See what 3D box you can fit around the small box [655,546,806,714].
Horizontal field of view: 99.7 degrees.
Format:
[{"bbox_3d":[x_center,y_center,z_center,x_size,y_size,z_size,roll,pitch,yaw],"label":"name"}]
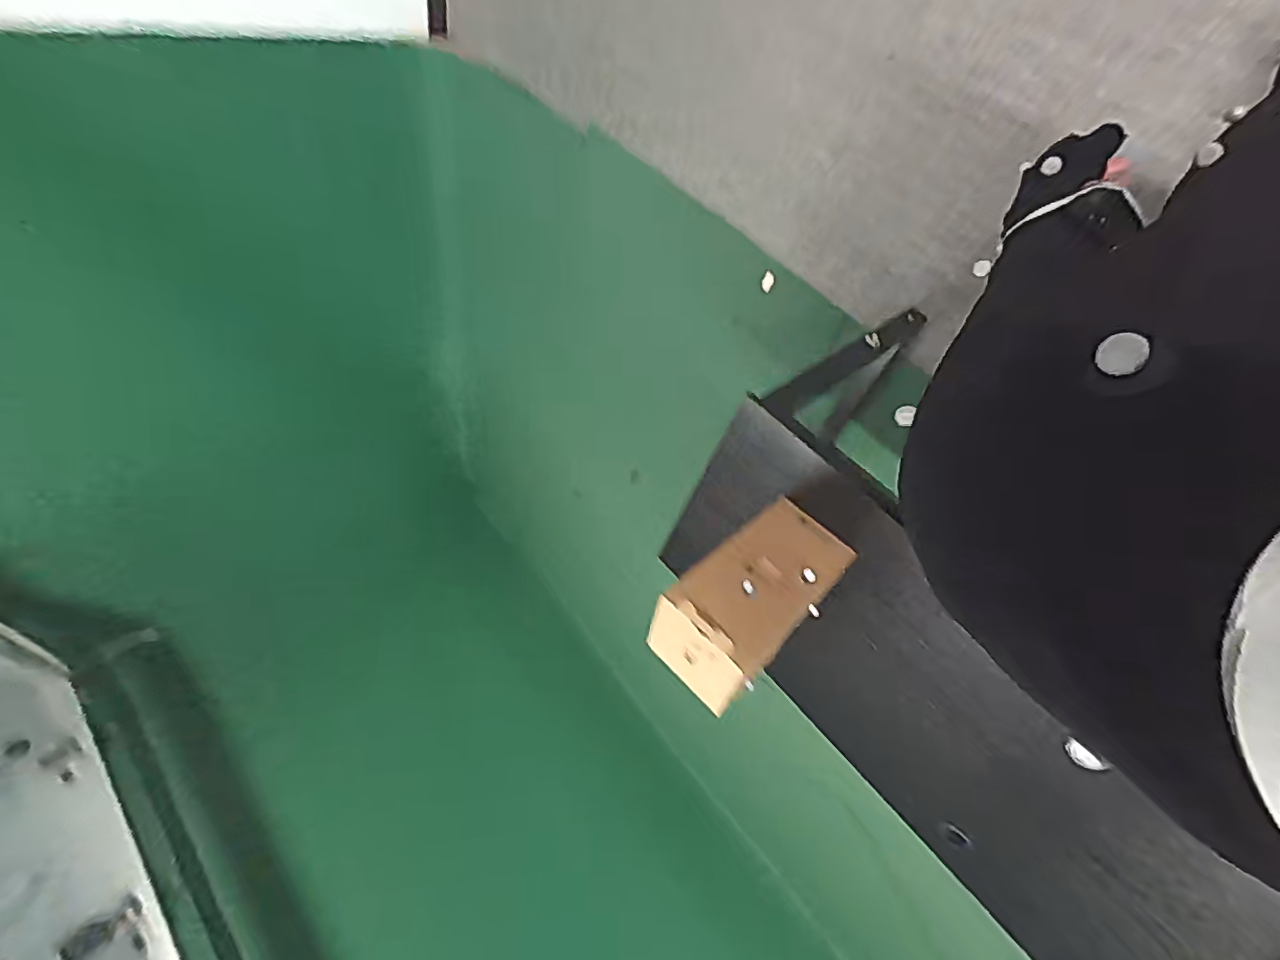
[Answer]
[{"bbox_3d":[0.150,0.249,0.913,0.168,0.176,0.179,39,142,25],"label":"small box"}]
